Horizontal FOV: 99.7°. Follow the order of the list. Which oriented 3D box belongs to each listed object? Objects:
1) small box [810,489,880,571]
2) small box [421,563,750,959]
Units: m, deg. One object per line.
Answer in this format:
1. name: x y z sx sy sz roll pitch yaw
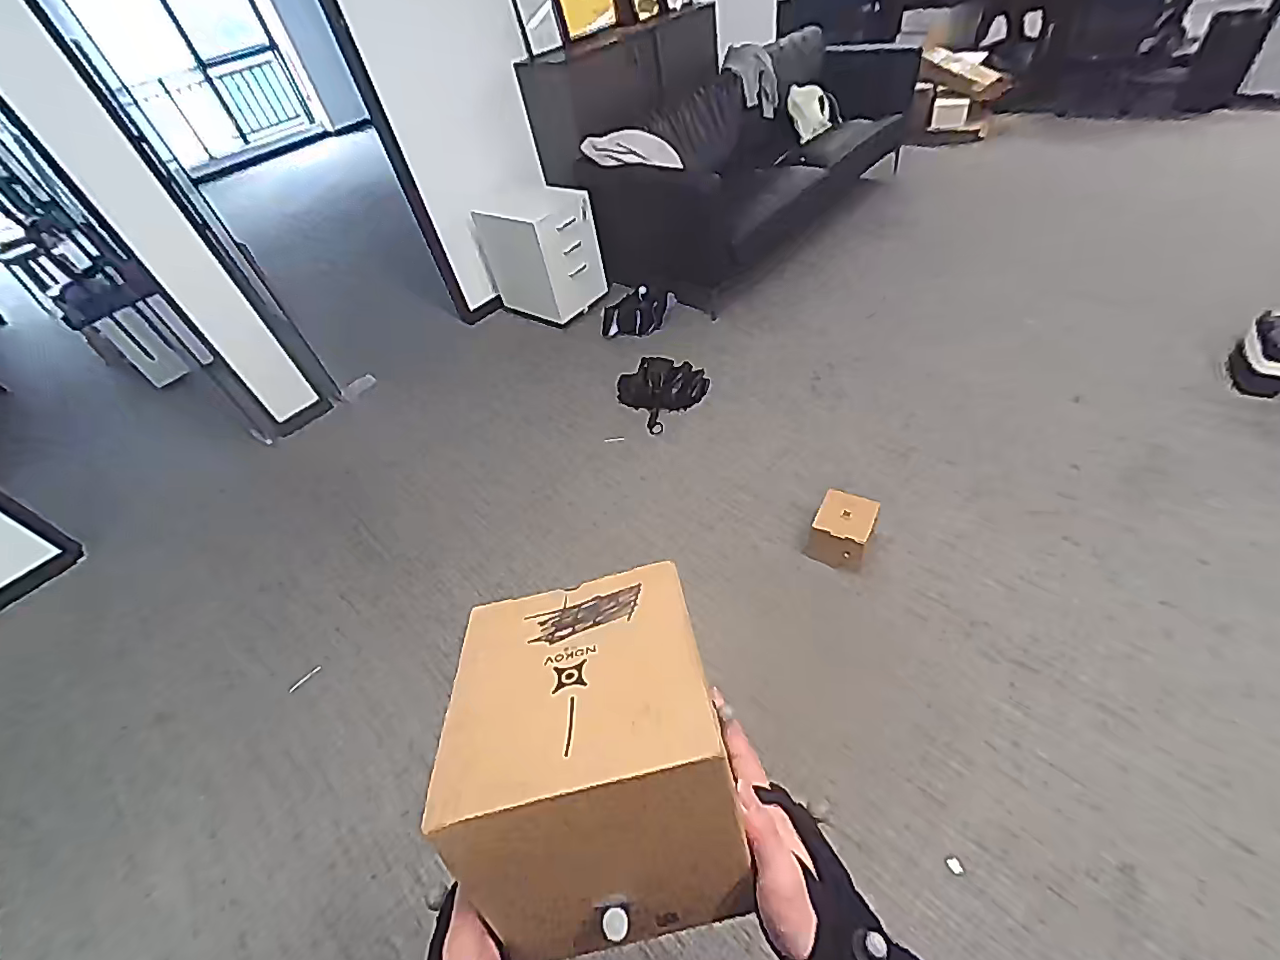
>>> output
1. small box: 0.659 0.165 1.750 0.168 0.176 0.179 18 52 26
2. small box: -0.028 0.192 0.394 0.168 0.176 0.179 -14 28 1
